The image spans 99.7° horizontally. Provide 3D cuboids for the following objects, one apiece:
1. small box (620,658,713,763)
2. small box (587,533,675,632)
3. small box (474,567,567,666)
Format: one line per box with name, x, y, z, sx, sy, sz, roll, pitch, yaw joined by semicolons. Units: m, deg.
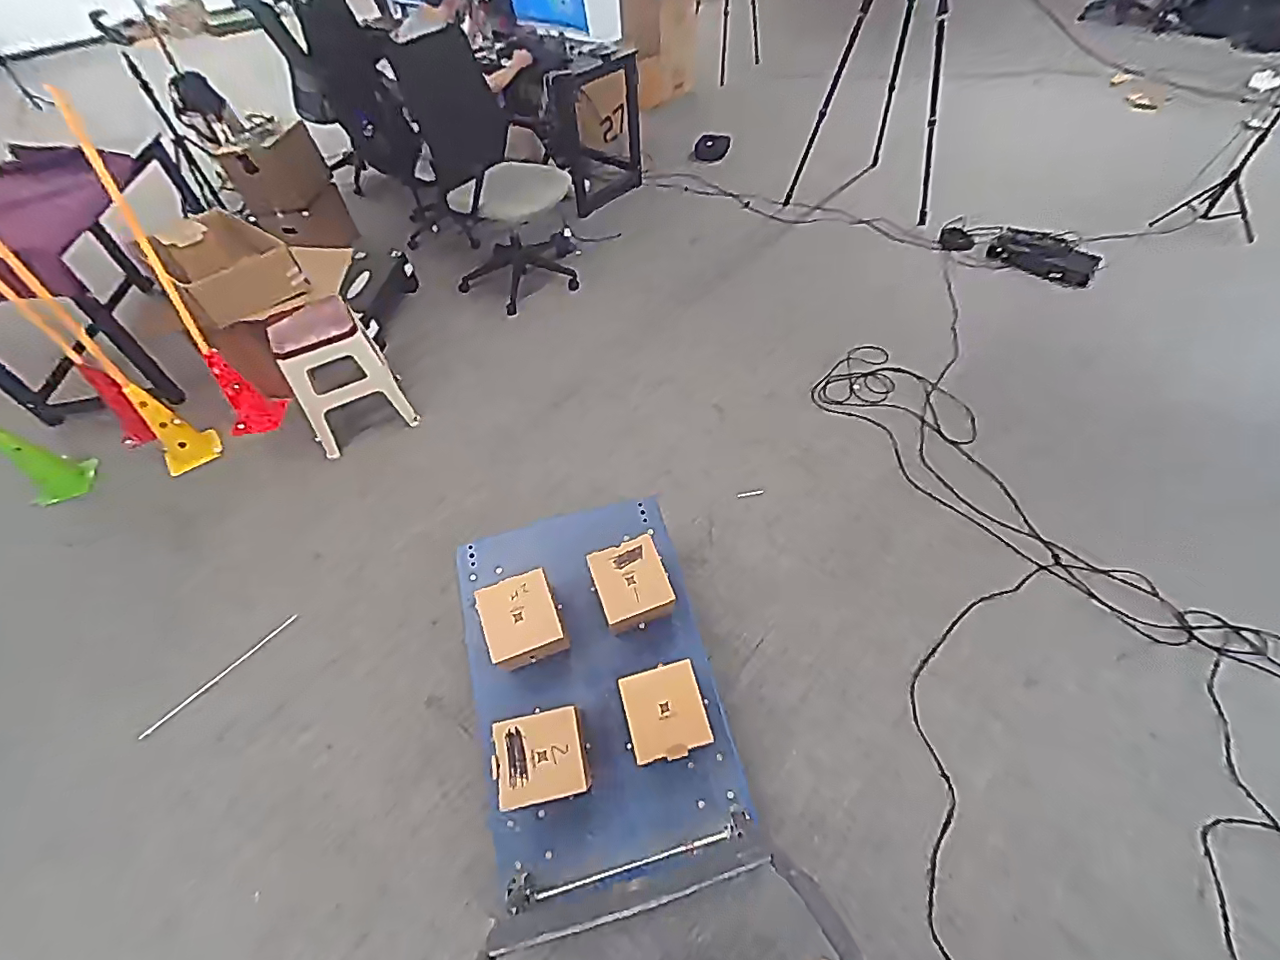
small box;0.051;0.520;1.220;0.168;0.176;0.179;-14;67;-8
small box;-0.025;0.258;1.337;0.168;0.176;0.179;-19;68;-9
small box;-0.280;0.334;1.296;0.168;0.176;0.179;-18;67;-11
